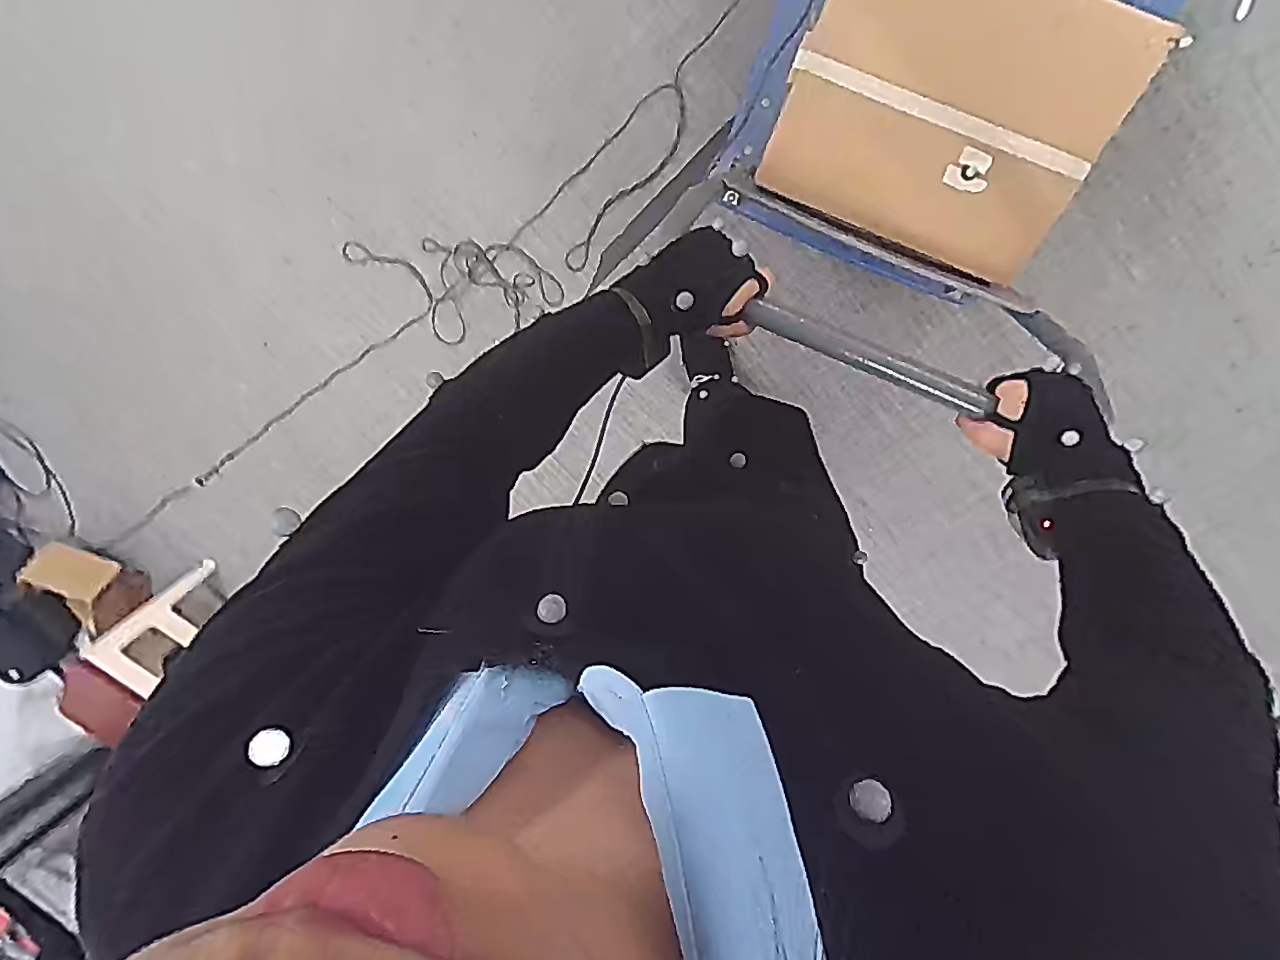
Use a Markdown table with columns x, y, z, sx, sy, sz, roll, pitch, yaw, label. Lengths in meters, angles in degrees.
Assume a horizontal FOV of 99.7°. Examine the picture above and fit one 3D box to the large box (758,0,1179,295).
| x | y | z | sx | sy | sz | roll | pitch | yaw | label |
| --- | --- | --- | --- | --- | --- | --- | --- | --- | --- |
| 0.430 | -0.532 | 0.839 | 0.408 | 0.320 | 0.320 | 24 | 121 | 1 | large box |
